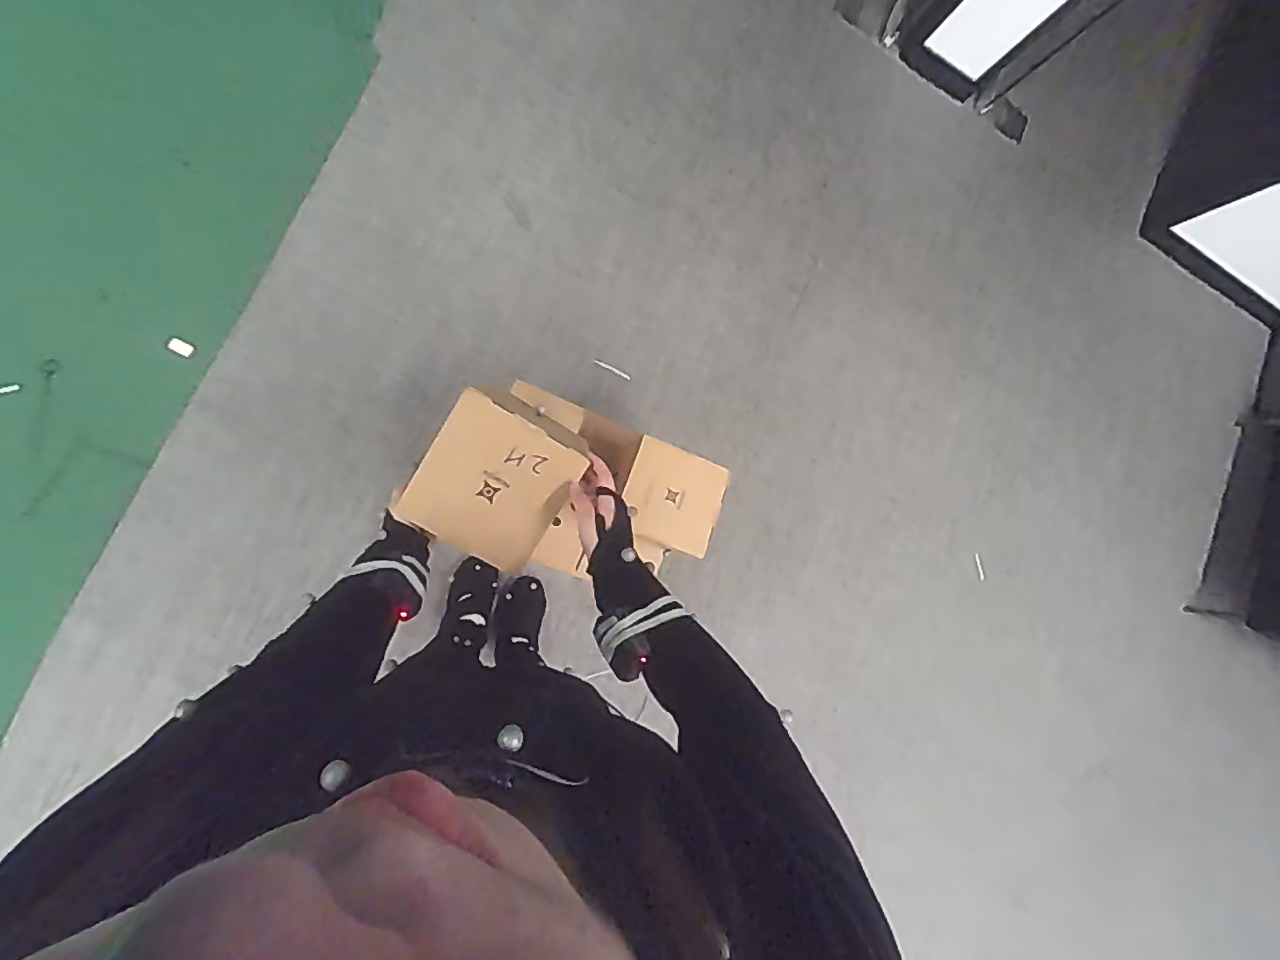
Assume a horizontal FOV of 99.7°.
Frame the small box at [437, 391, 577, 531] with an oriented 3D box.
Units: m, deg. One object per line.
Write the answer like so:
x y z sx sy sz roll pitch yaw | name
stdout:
-0.227 -0.028 0.932 0.168 0.176 0.179 26 83 -15 | small box

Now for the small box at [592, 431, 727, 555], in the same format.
0.029 0.025 1.003 0.179 0.176 0.168 23 81 -12 | small box
